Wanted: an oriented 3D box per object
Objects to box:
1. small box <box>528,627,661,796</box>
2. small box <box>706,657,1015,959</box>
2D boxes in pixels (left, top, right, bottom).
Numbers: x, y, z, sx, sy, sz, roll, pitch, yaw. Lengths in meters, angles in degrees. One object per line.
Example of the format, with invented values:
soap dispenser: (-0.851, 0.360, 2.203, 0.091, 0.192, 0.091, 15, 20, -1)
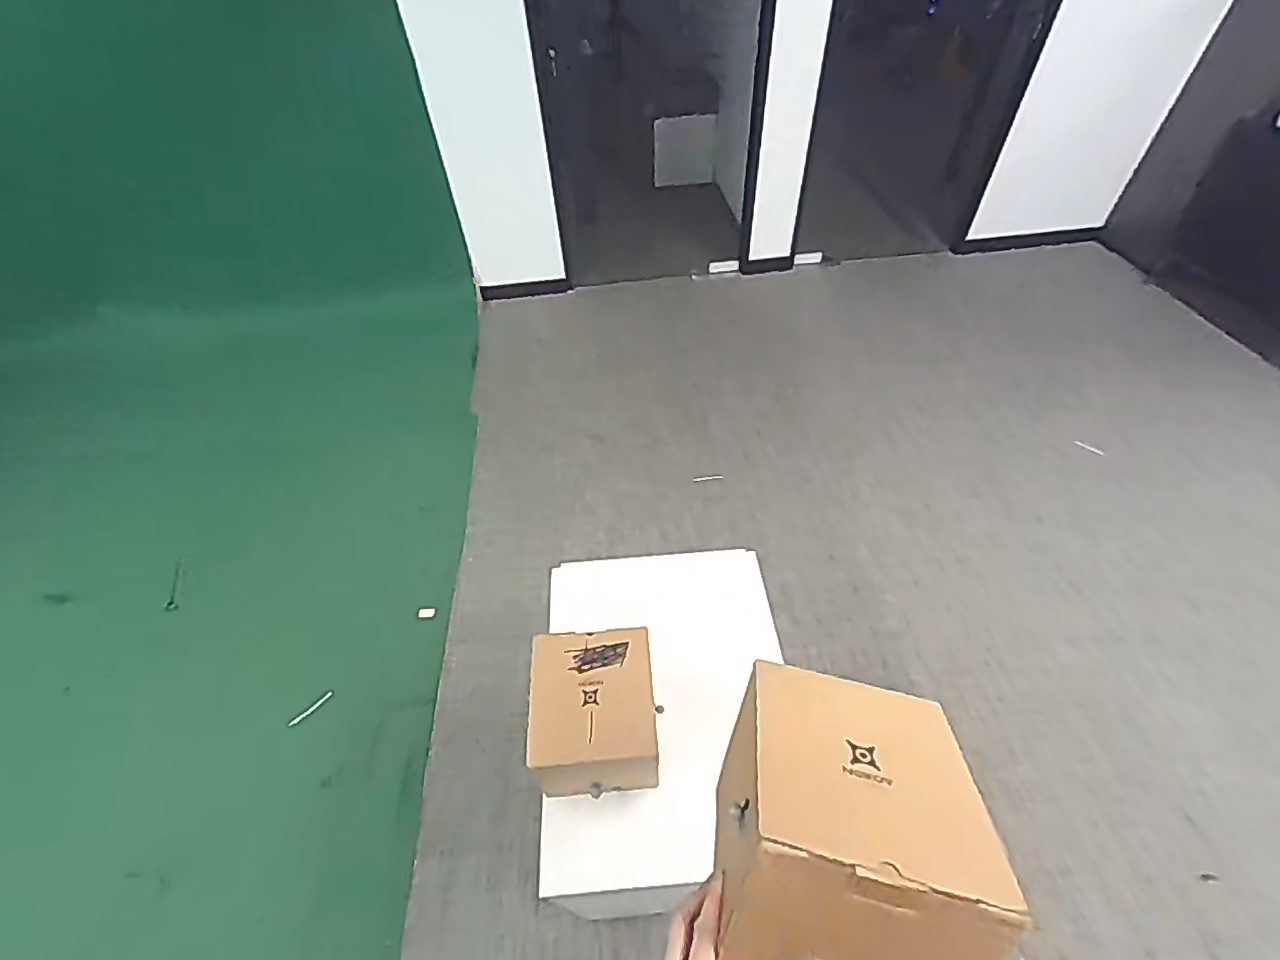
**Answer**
small box: (-0.060, 0.334, 0.780, 0.168, 0.176, 0.179, -4, 49, -1)
small box: (0.153, 0.285, 0.444, 0.168, 0.176, 0.179, 12, 23, 7)
